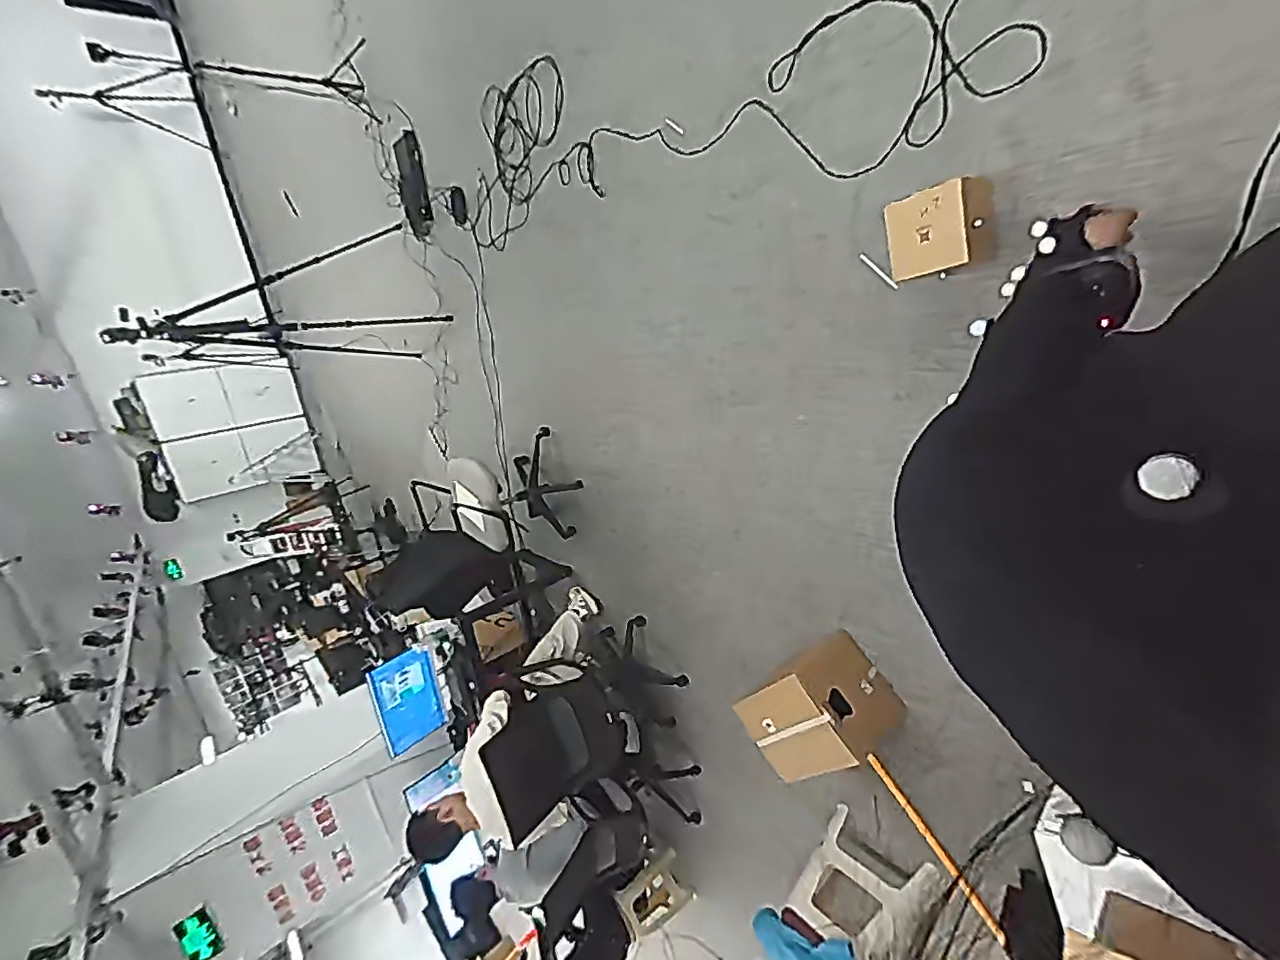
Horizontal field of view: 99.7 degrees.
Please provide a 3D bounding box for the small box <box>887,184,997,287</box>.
[{"bbox_3d":[0.698,-0.559,1.244,0.168,0.176,0.179,1,107,51],"label":"small box"}]
